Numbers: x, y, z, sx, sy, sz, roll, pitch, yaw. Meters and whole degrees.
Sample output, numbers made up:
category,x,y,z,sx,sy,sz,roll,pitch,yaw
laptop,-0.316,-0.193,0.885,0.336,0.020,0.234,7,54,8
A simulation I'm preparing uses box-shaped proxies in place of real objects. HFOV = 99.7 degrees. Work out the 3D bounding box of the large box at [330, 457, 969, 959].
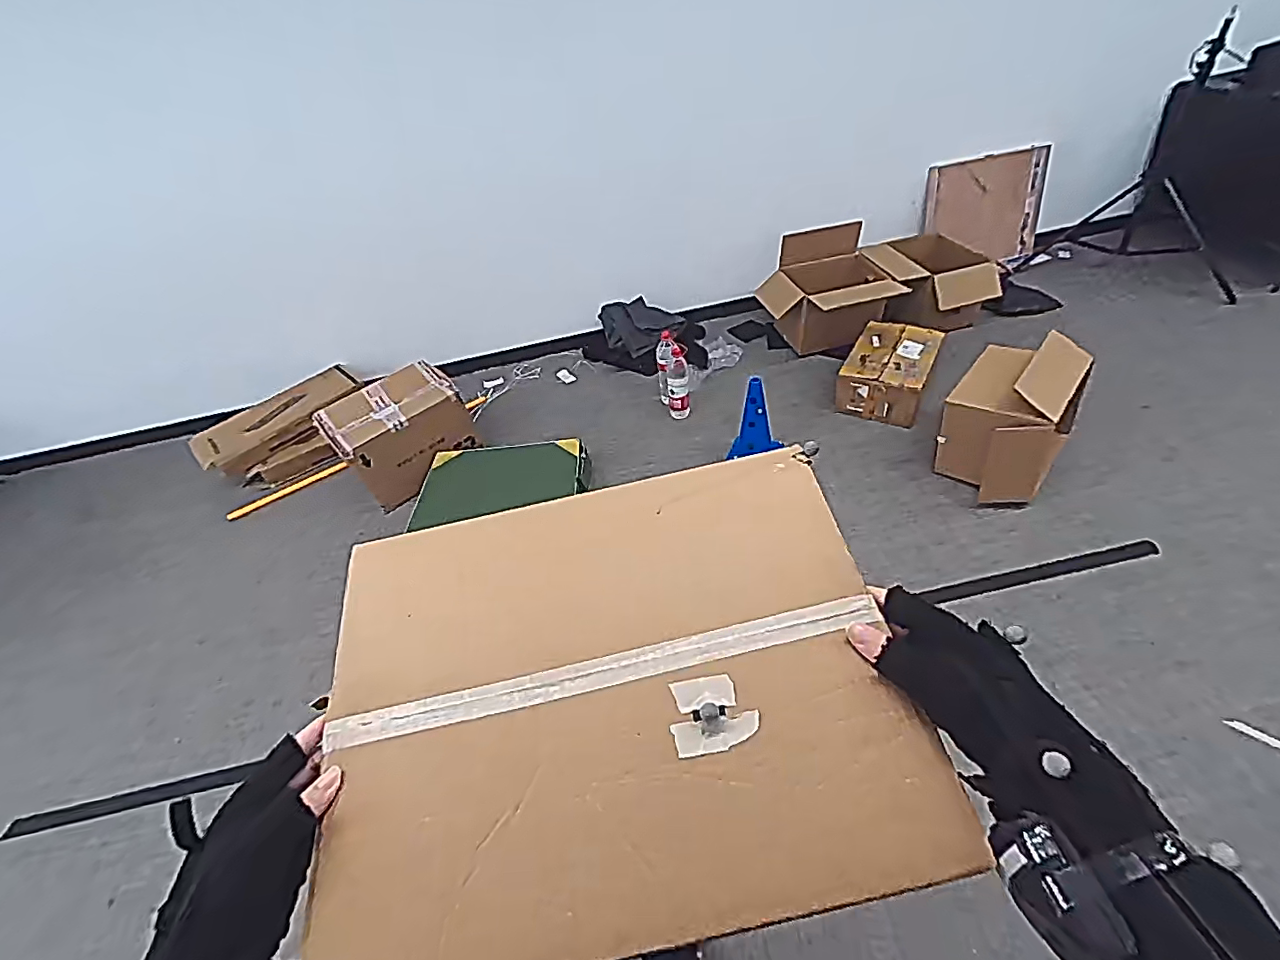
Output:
category,x,y,z,sx,sy,sz,roll,pitch,yaw
large box,-0.006,0.229,0.526,0.408,0.320,0.320,-13,56,-2
